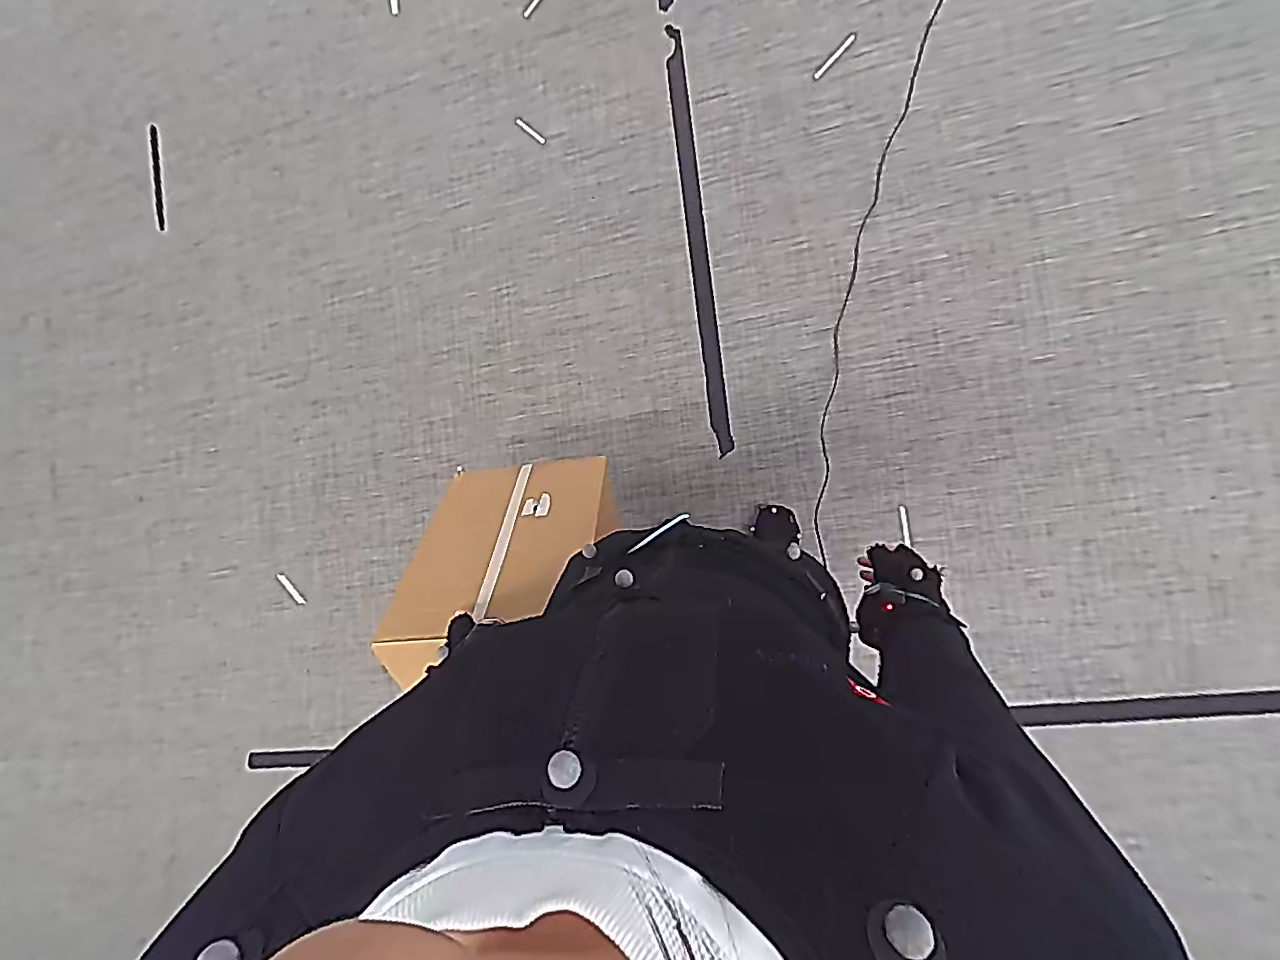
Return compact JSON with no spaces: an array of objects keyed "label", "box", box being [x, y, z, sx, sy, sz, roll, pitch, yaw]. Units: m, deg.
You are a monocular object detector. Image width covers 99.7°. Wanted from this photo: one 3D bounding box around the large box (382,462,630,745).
[{"label":"large box","box":[-0.198,0.217,1.004,0.320,0.408,0.320,-5,127,6]}]
